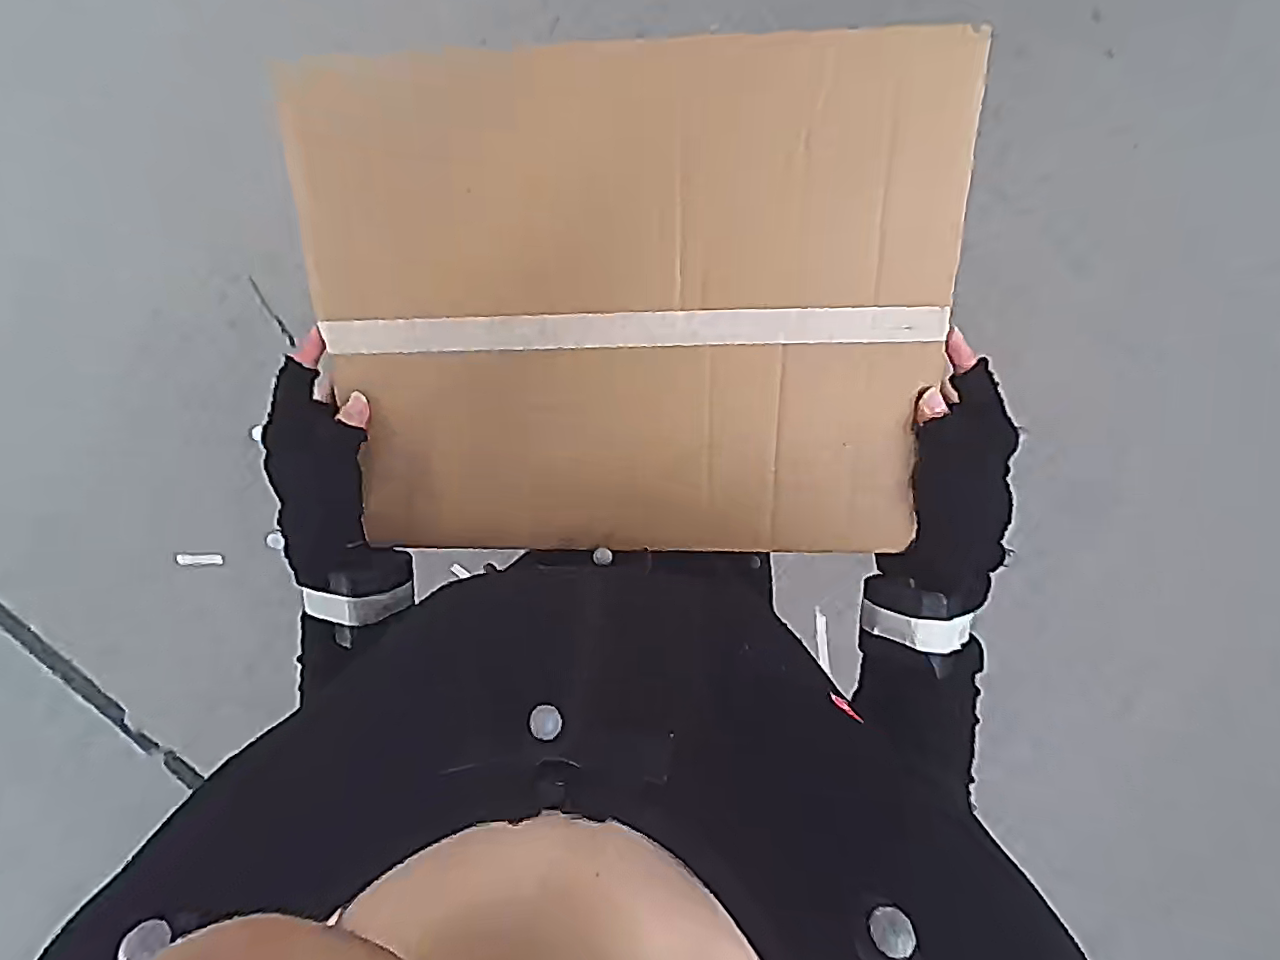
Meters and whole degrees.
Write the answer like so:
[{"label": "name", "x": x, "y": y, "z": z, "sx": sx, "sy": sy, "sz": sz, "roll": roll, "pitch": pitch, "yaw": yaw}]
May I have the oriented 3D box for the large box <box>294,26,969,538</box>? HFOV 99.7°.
[{"label": "large box", "x": -0.002, "y": -0.151, "z": 0.501, "sx": 0.408, "sy": 0.320, "sz": 0.320, "roll": 0, "pitch": 110, "yaw": 4}]
